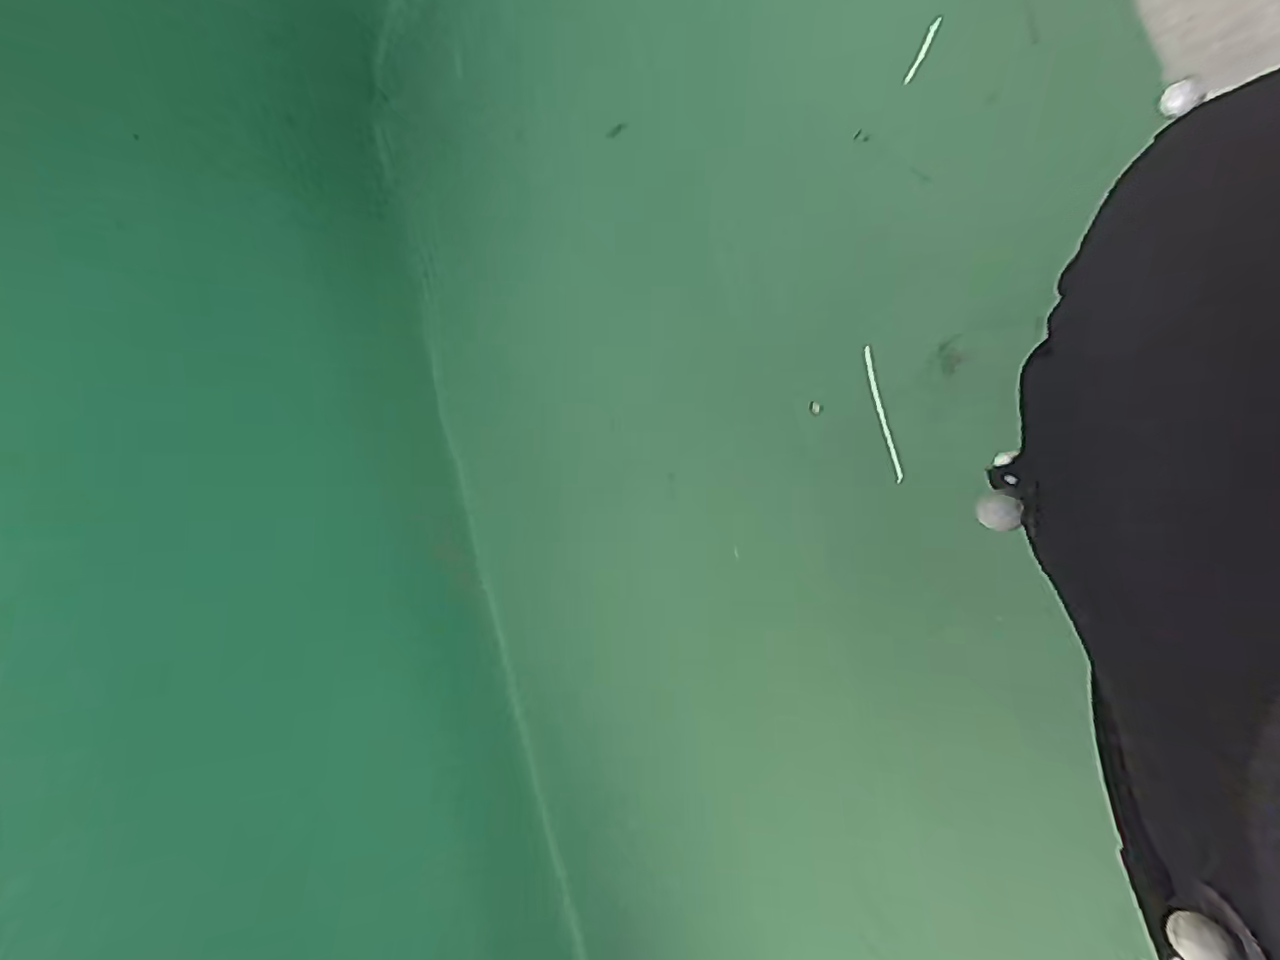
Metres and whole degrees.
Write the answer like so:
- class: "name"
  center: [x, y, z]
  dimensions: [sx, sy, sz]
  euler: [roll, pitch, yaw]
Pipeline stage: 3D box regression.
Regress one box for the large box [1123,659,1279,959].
- class: "large box"
  center: [0.901, 0.392, 0.600]
  dimensions: [0.320, 0.408, 0.320]
  euler: [109, 143, -76]
